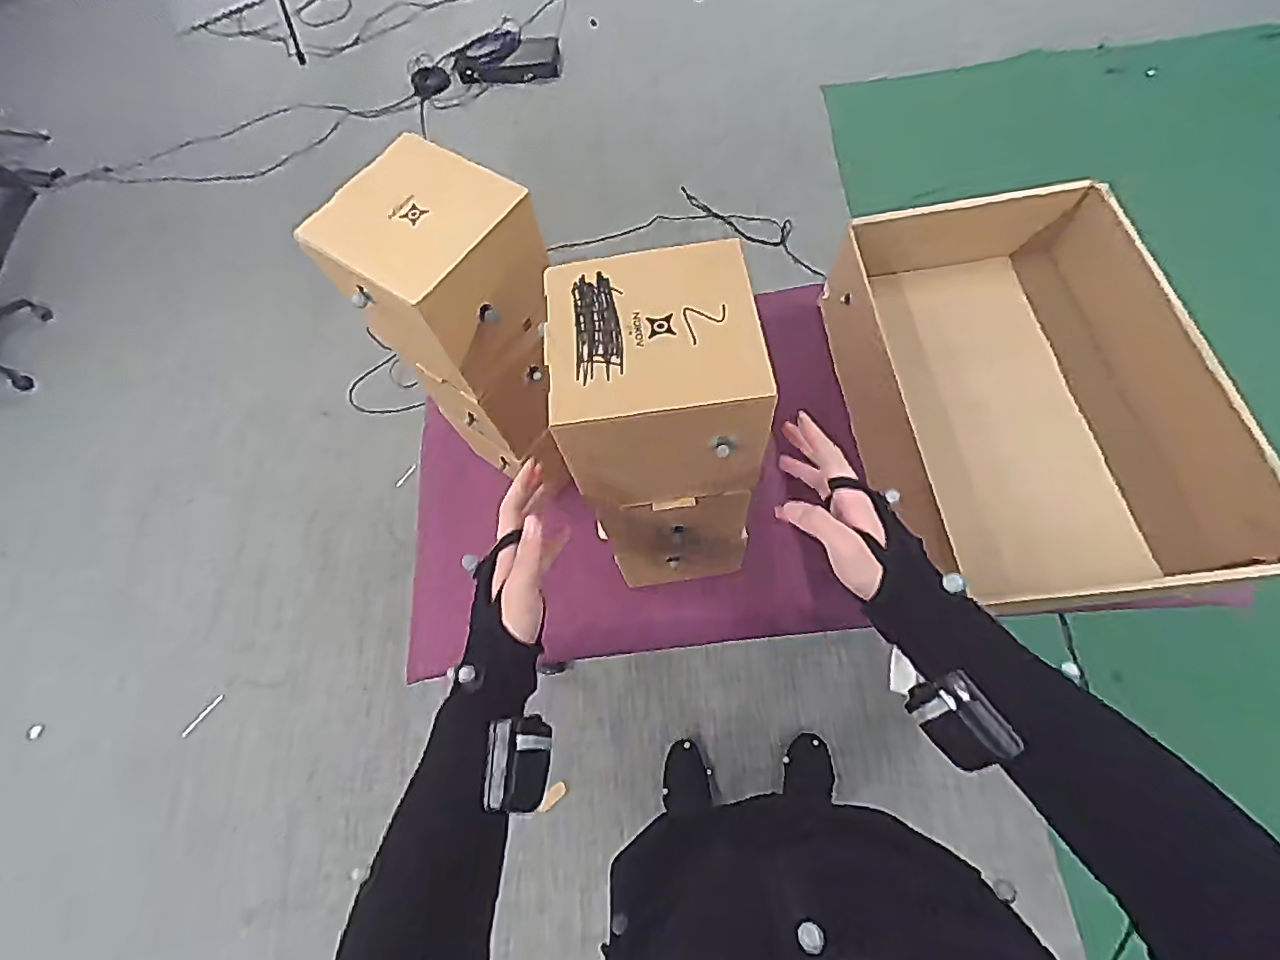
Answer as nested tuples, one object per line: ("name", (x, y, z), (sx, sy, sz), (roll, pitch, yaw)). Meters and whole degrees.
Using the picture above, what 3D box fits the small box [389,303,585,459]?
("small box", (-0.194, -0.158, 0.748), (0.168, 0.176, 0.179), (34, 74, 17))

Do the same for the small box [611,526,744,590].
("small box", (0.049, 0.057, 0.806), (0.179, 0.176, 0.168), (-9, 65, 2))

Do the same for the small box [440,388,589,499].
("small box", (-0.185, -0.089, 0.895), (0.179, 0.176, 0.168), (33, 73, 18))

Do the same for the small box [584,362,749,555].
("small box", (0.032, -0.014, 0.660), (0.168, 0.176, 0.179), (-8, 65, 2))

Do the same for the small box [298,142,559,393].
("small box", (-0.214, -0.223, 0.601), (0.179, 0.176, 0.168), (32, 74, 17))
